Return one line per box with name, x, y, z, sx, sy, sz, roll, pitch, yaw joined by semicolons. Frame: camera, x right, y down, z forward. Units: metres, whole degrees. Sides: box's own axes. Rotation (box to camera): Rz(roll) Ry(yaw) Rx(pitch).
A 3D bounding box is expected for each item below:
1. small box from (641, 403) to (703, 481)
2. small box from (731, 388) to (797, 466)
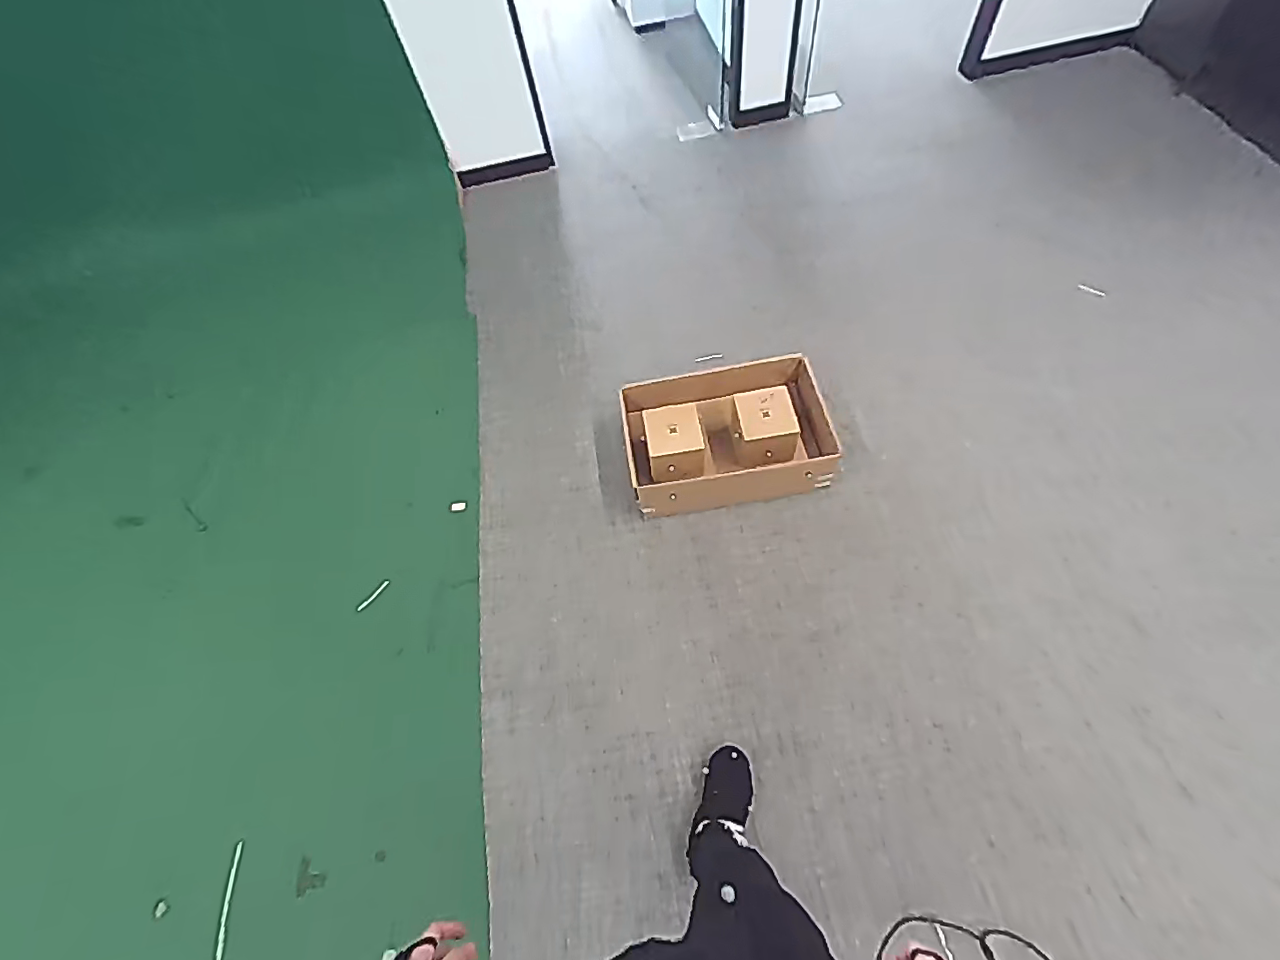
small box;0.101;-0.110;1.686;0.168;0.176;0.179;-9;59;1
small box;0.380;-0.158;1.680;0.168;0.176;0.179;-9;60;2
